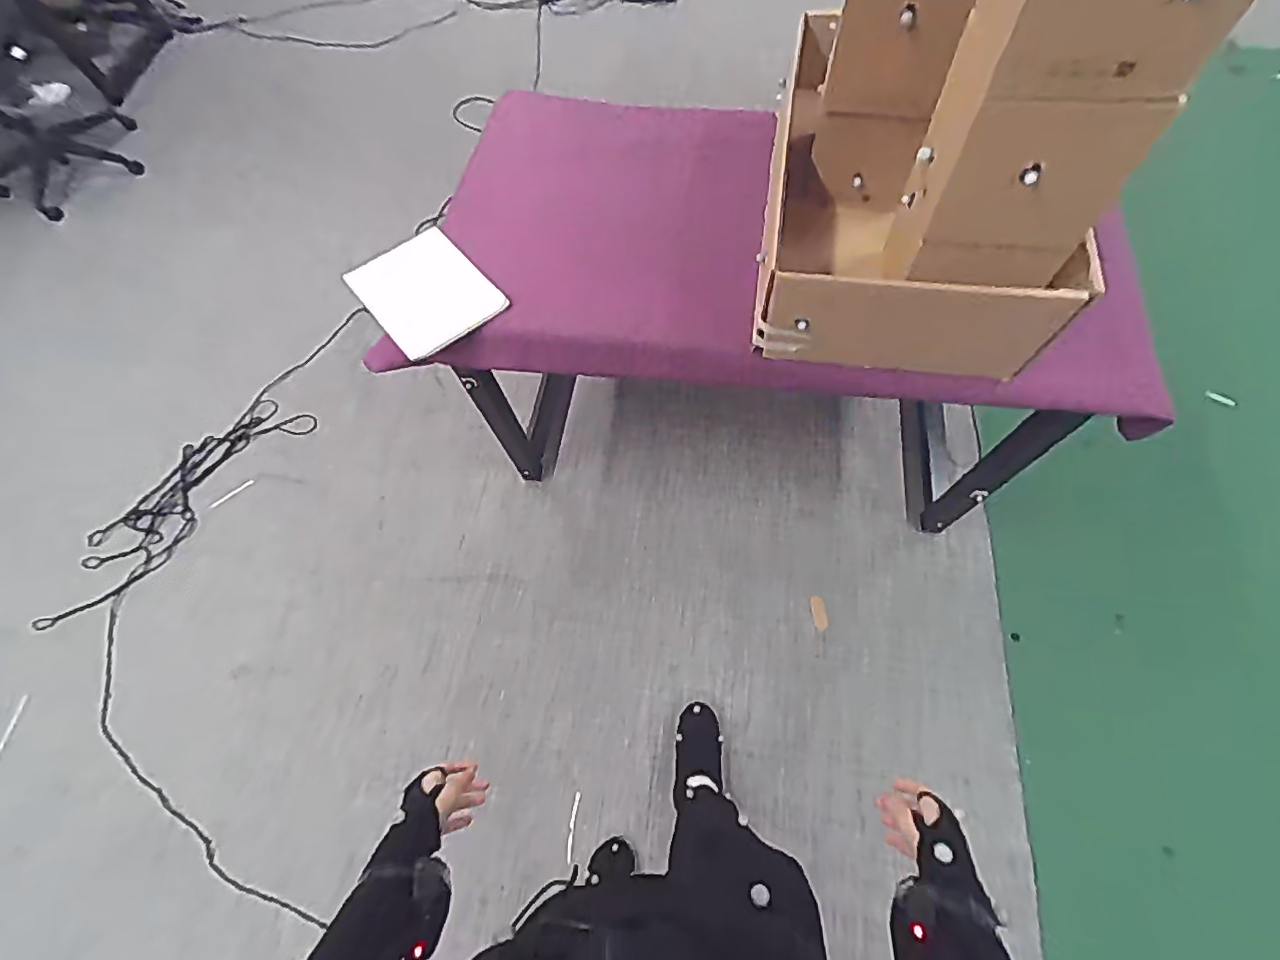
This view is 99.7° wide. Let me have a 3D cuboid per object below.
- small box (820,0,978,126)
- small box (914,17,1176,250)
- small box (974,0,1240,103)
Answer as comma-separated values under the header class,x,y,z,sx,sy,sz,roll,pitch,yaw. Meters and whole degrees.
class,x,y,z,sx,sy,sz,roll,pitch,yaw
small box,0.361,-0.619,0.736,0.179,0.176,0.168,12,70,11
small box,0.434,-0.386,0.615,0.179,0.176,0.168,7,65,11
small box,0.417,-0.463,0.472,0.168,0.176,0.179,8,65,10
